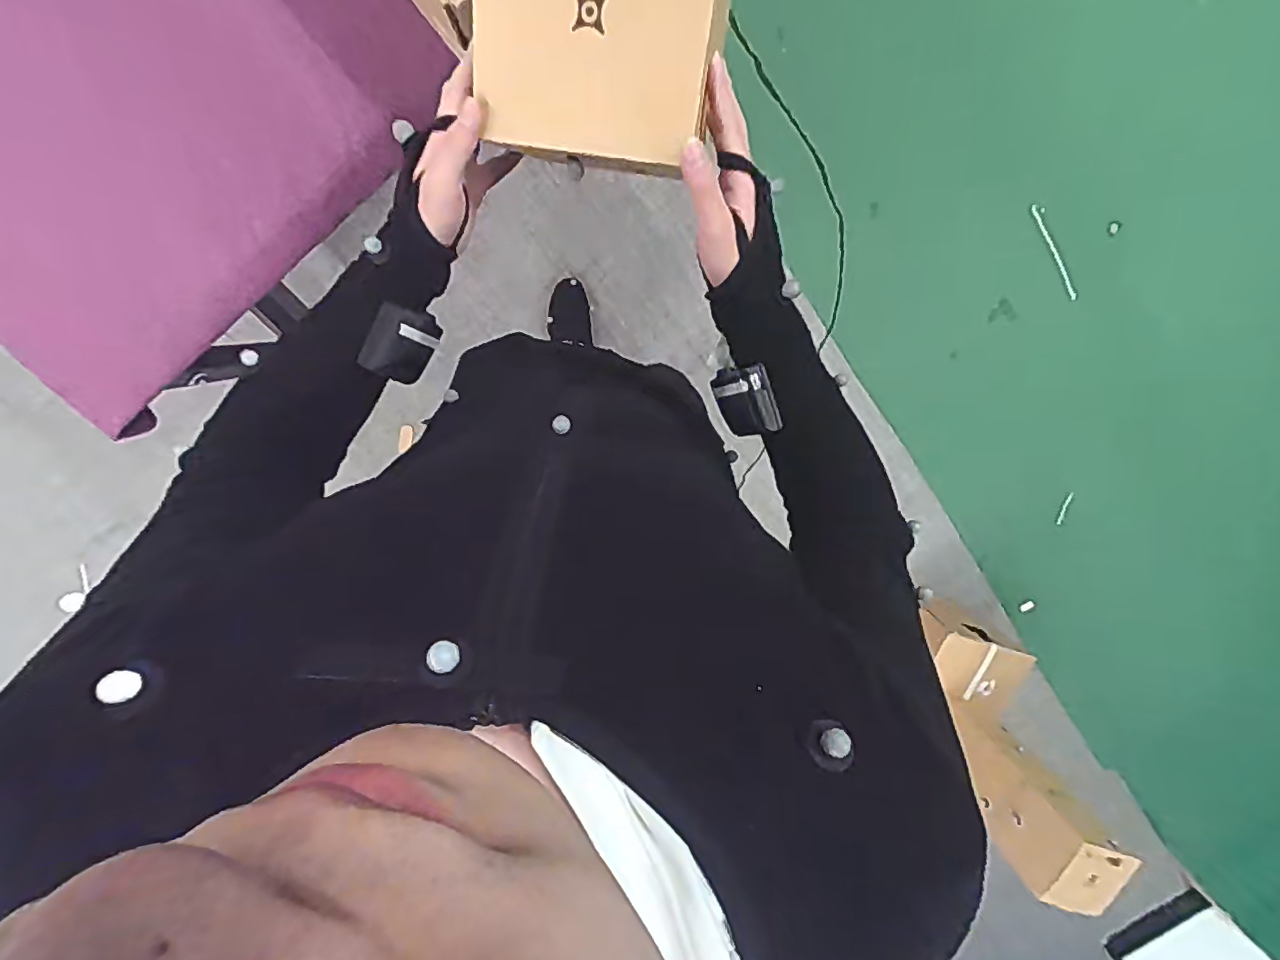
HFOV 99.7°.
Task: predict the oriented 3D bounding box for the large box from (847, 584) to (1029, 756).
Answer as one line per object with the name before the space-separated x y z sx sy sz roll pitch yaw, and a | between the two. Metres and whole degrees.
large box | 0.952 0.618 1.782 0.320 0.320 0.408 17 103 -11

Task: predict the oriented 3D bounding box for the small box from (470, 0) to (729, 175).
small box | -0.021 -0.354 0.429 0.168 0.176 0.179 10 116 5

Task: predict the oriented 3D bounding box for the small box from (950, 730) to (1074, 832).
small box | 0.950 0.793 1.404 0.168 0.176 0.179 22 103 -11

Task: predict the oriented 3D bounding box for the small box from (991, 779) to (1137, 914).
small box | 0.960 0.839 1.247 0.168 0.176 0.179 22 104 -11
